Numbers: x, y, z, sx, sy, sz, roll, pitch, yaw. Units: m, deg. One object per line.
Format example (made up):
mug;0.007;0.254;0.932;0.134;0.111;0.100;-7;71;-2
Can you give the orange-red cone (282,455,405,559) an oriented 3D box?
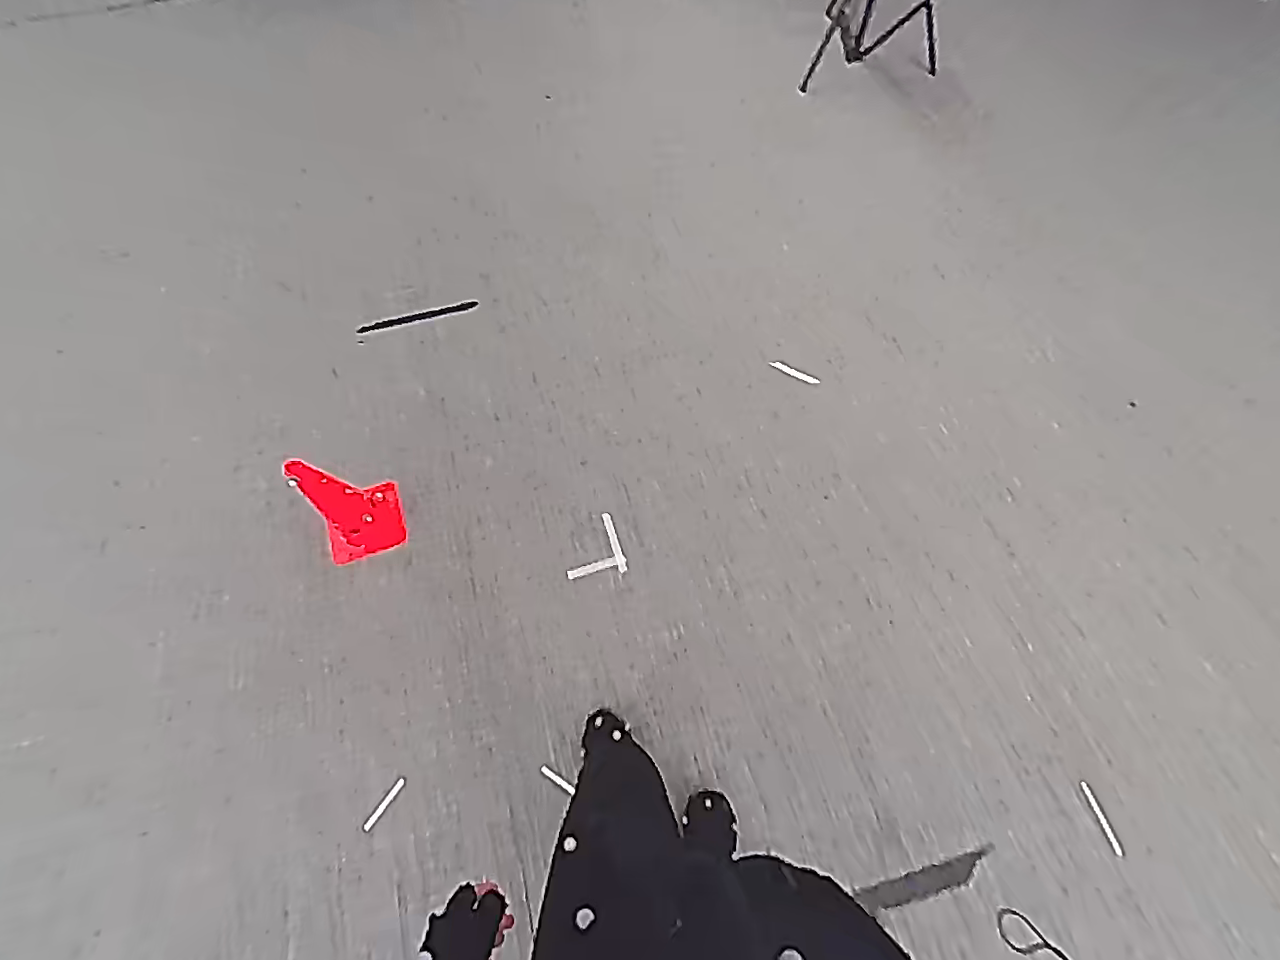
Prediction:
orange-red cone;-0.757;0.036;1.328;0.199;0.360;0.198;-19;66;-7
